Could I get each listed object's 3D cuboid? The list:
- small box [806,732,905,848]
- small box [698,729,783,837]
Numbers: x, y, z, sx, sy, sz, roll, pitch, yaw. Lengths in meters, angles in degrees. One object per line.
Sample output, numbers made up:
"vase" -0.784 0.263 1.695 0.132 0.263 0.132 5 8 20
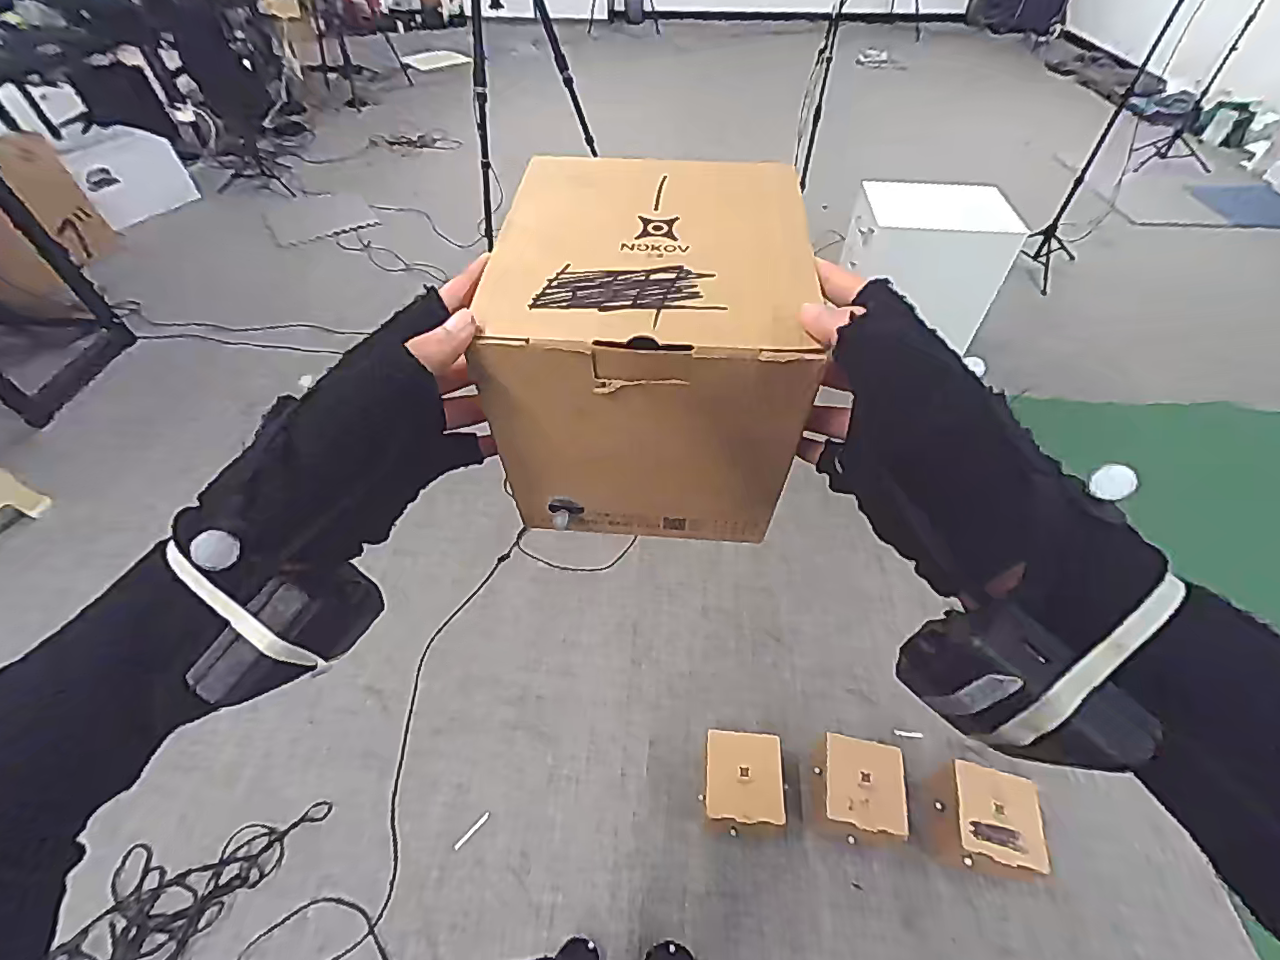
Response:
"small box" 0.478 0.702 1.221 0.168 0.176 0.179 9 51 9
"small box" 0.221 0.692 1.232 0.168 0.176 0.179 4 50 4
